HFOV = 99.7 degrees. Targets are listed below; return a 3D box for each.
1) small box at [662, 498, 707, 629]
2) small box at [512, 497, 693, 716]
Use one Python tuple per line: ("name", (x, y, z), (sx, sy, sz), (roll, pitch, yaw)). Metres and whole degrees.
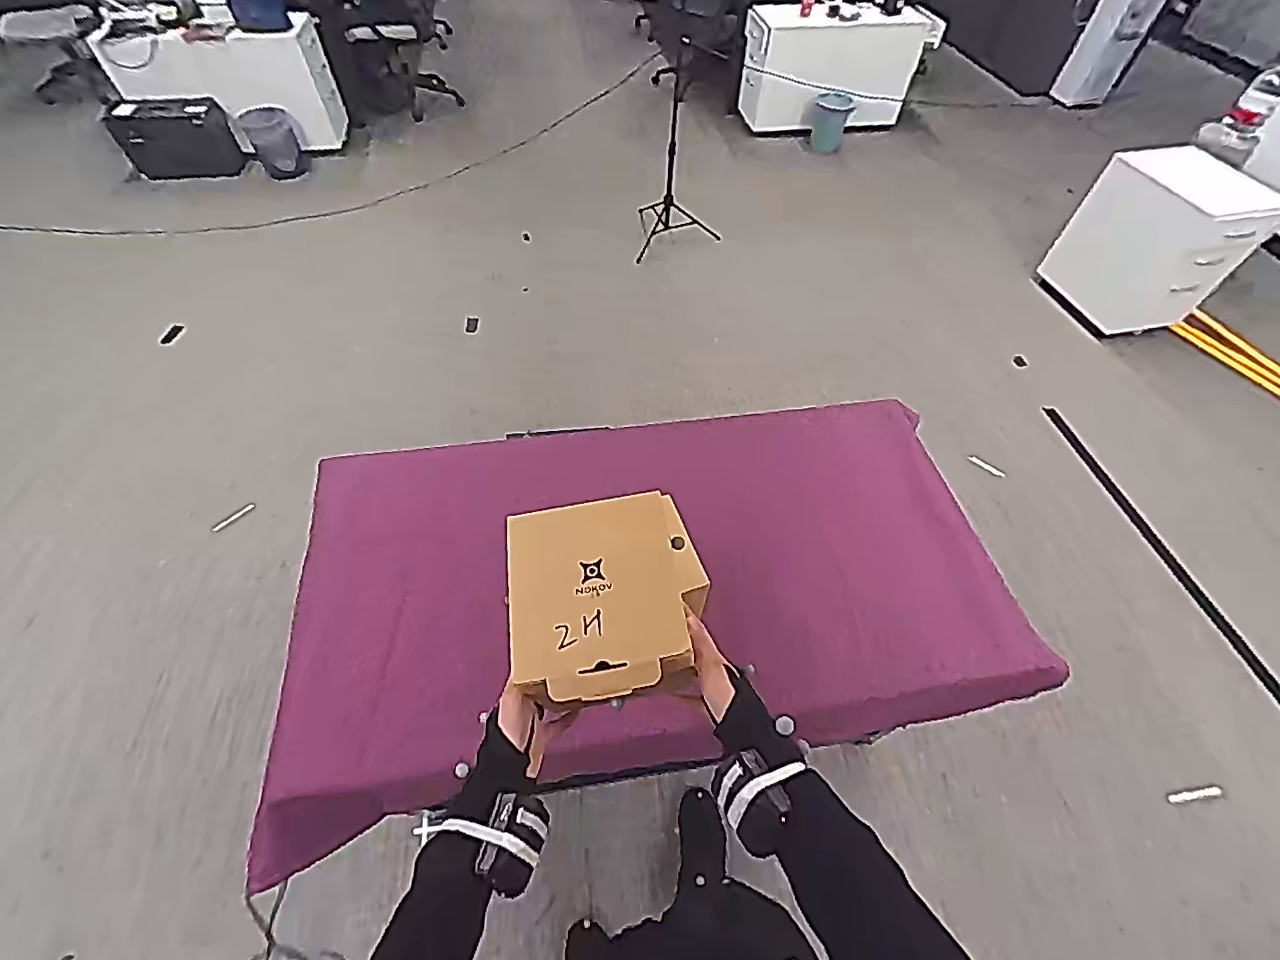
("small box", (-0.010, 0.159, 0.862), (0.179, 0.176, 0.168), (-14, 56, -13))
("small box", (-0.039, 0.144, 0.595), (0.168, 0.176, 0.179), (-9, 58, 0))
